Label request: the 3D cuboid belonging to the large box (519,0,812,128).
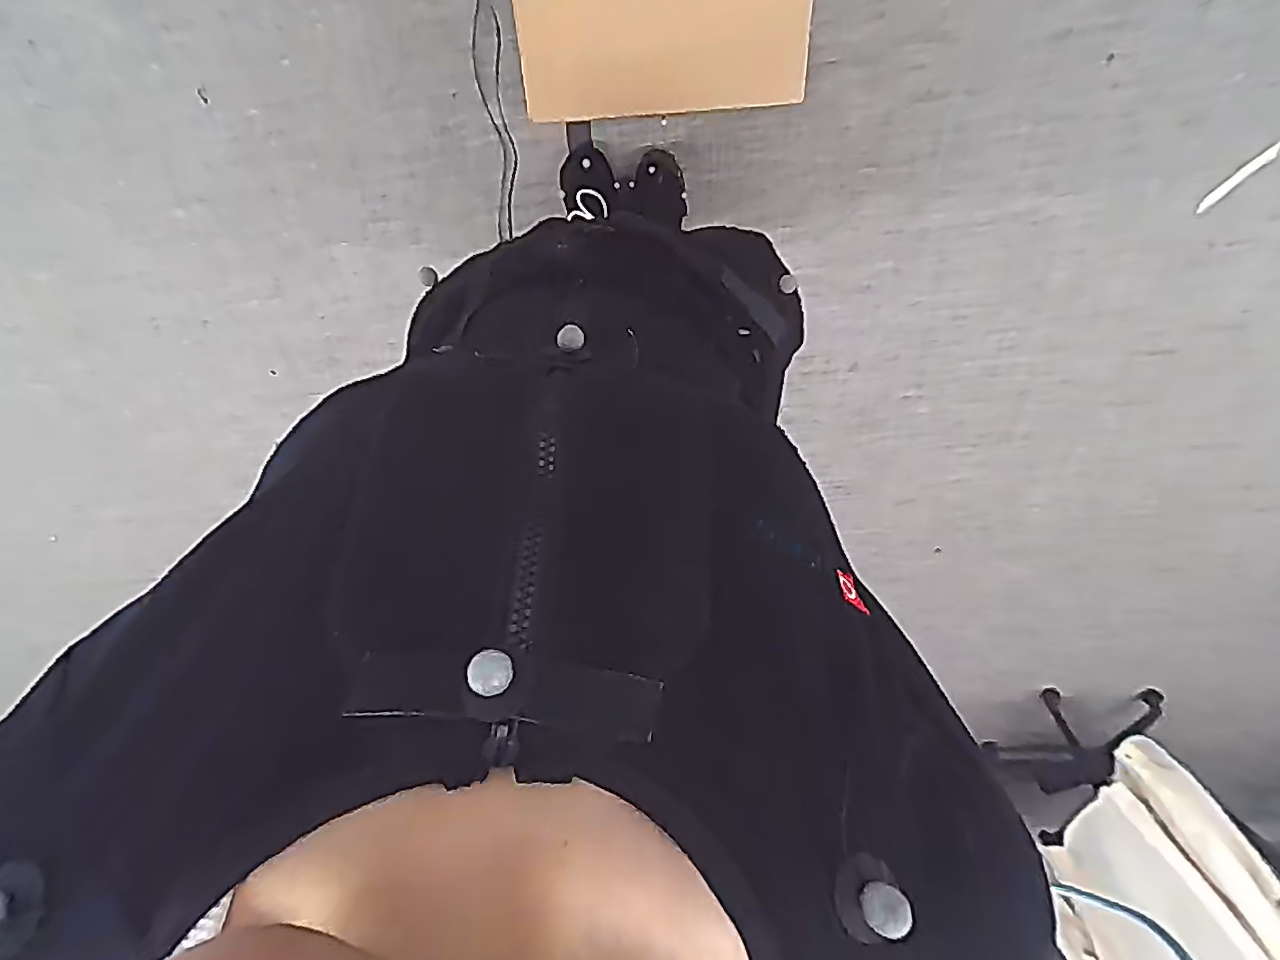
[{"bbox_3d":[0.033,-0.751,0.841,0.408,0.320,0.320,-2,125,3],"label":"large box"}]
